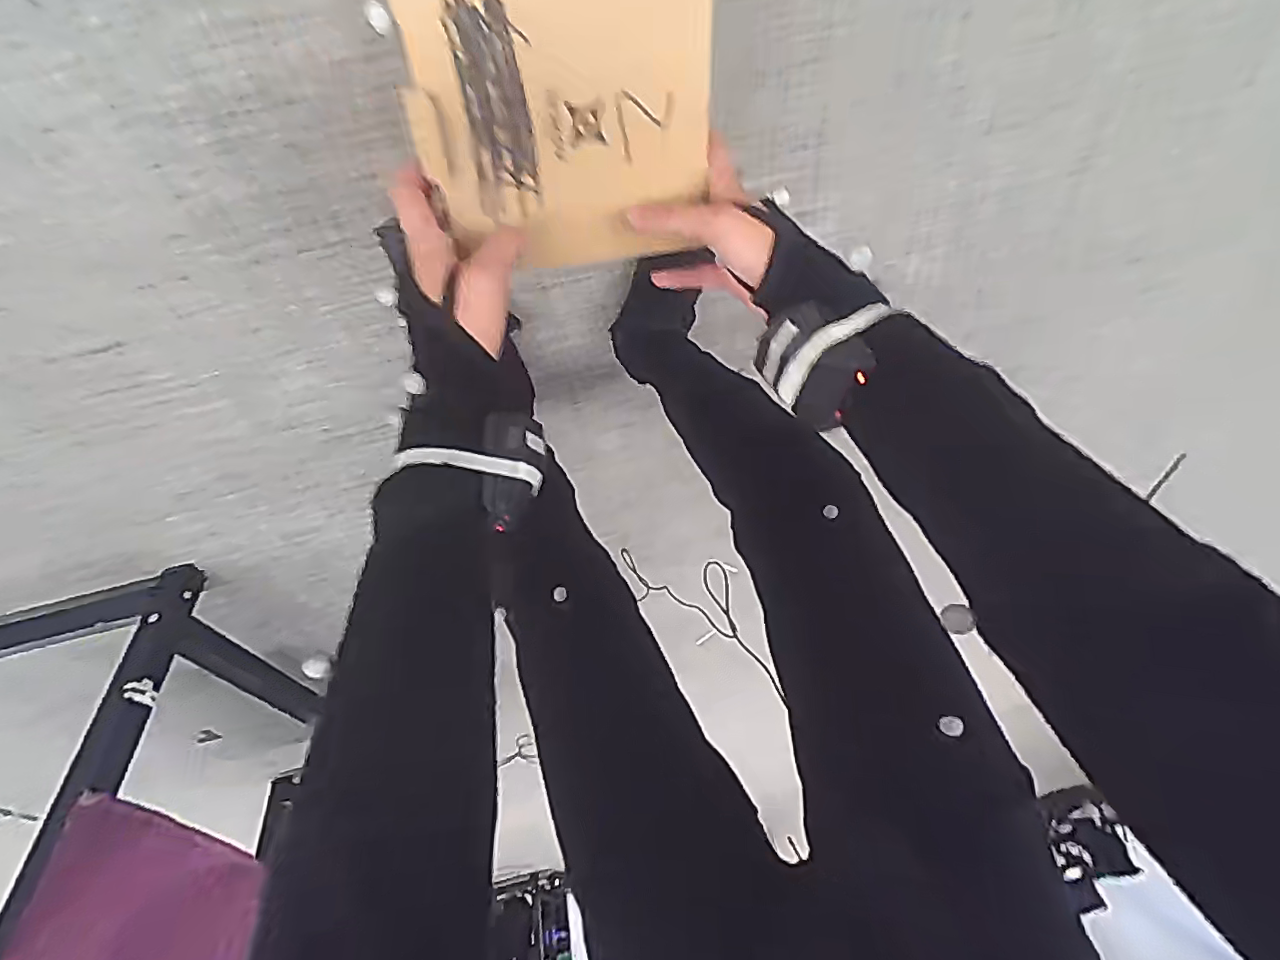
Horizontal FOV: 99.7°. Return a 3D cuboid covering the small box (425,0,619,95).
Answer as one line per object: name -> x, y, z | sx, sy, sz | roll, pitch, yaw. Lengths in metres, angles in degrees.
small box -> -0.118, -0.489, 0.502 | 0.168, 0.176, 0.179 | -11, 137, -5
